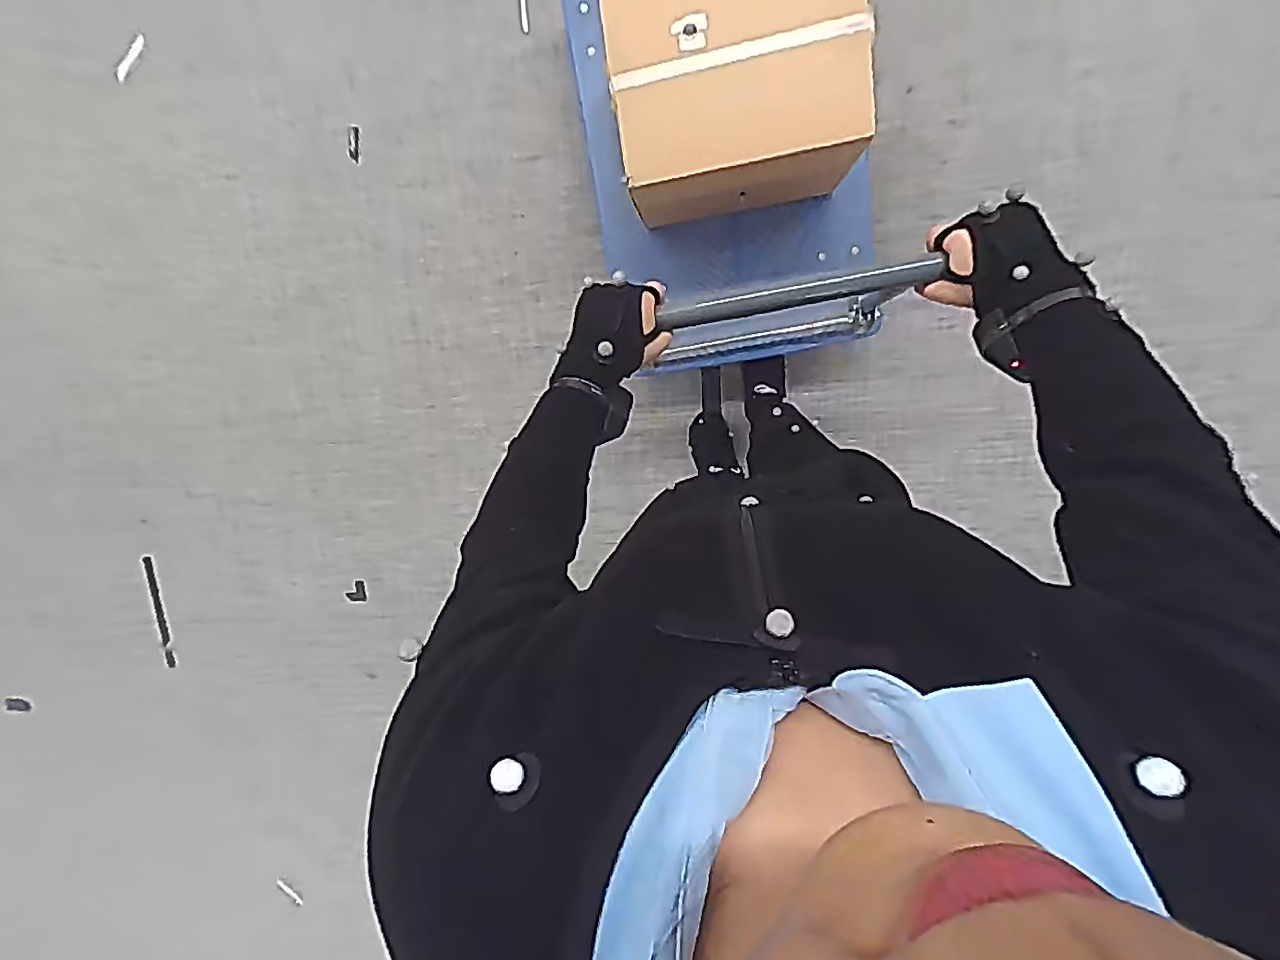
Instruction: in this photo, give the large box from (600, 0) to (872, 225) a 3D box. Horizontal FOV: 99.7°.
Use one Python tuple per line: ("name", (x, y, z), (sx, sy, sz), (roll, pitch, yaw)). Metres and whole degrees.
("large box", (0.174, -0.710, 1.012), (0.408, 0.320, 0.320), (-8, 101, 10))
